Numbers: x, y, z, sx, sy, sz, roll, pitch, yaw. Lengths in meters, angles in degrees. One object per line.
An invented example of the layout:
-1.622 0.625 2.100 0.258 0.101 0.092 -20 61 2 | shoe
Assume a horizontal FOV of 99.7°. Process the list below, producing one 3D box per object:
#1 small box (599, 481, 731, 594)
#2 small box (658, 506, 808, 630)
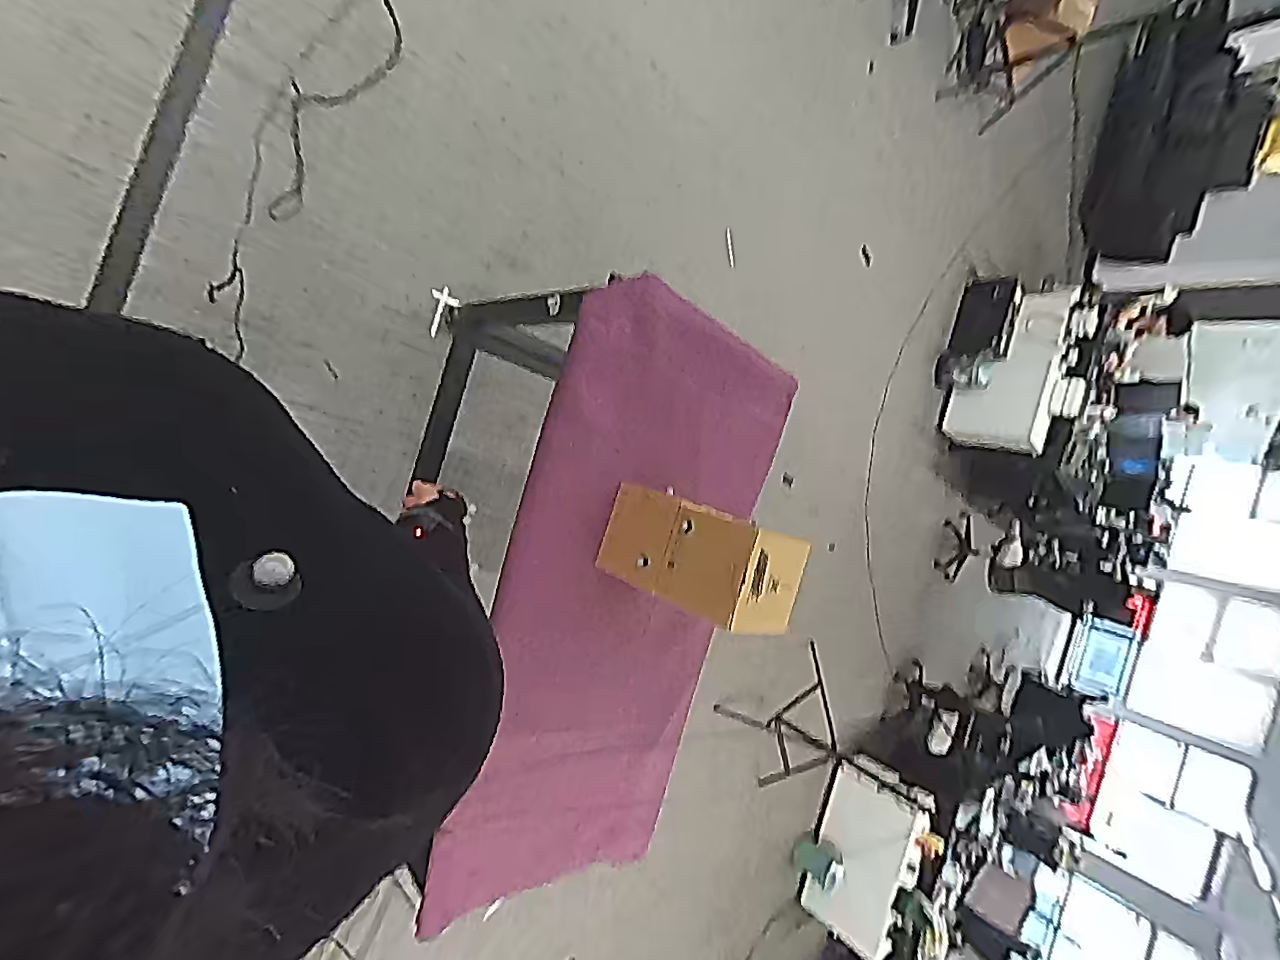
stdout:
0.044 0.115 1.055 0.168 0.176 0.179 19 88 -45 | small box
0.159 0.151 0.943 0.179 0.176 0.168 17 90 -45 | small box
